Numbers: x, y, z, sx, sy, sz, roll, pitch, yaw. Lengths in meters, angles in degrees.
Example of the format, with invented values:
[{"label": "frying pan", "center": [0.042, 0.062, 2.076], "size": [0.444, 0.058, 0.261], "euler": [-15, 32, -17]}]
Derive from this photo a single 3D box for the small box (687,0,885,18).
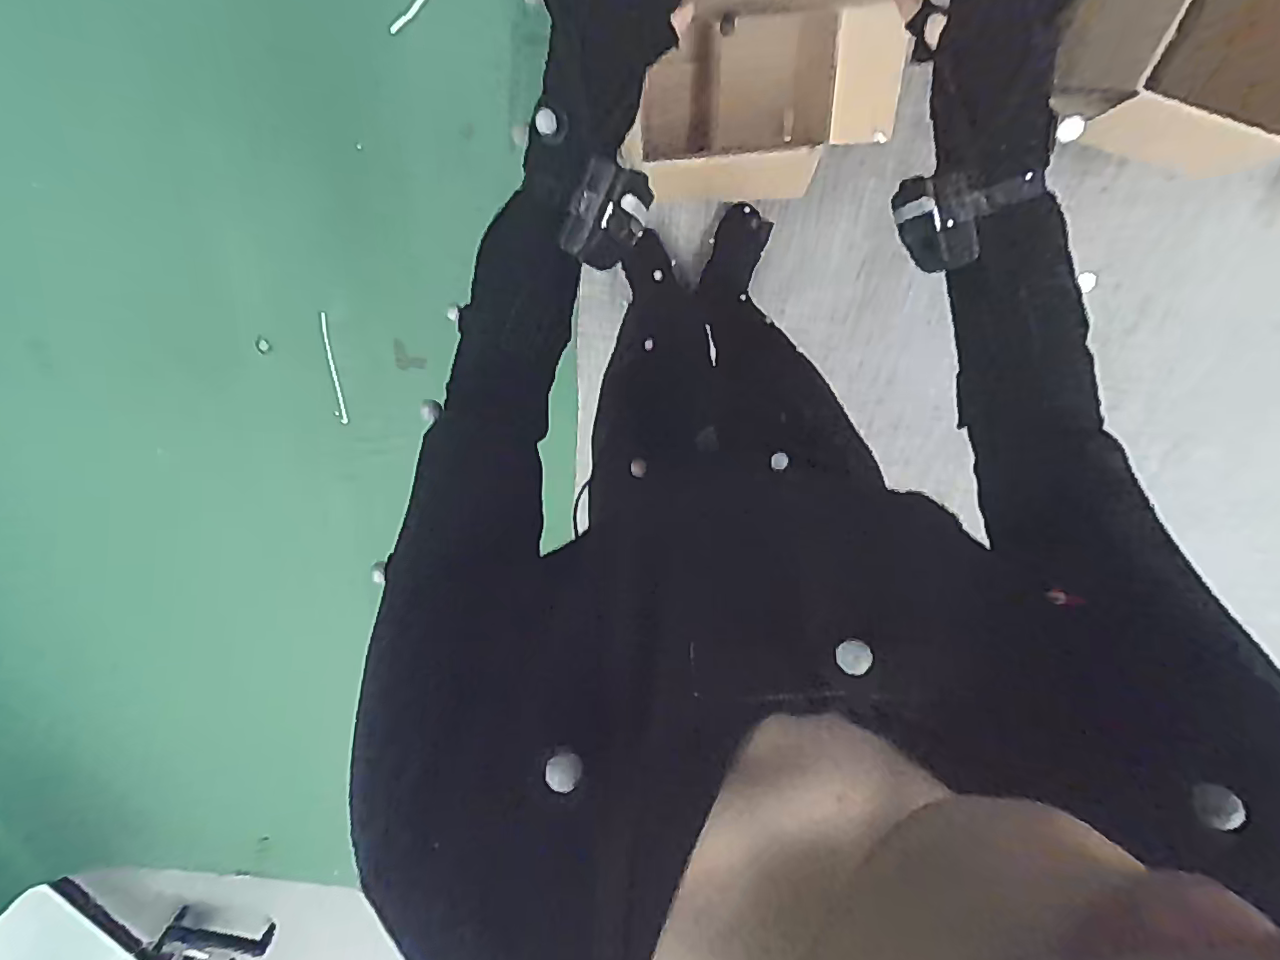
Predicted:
[{"label": "small box", "center": [0.108, -0.417, 0.341], "size": [0.168, 0.176, 0.179], "euler": [2, 122, 8]}]
